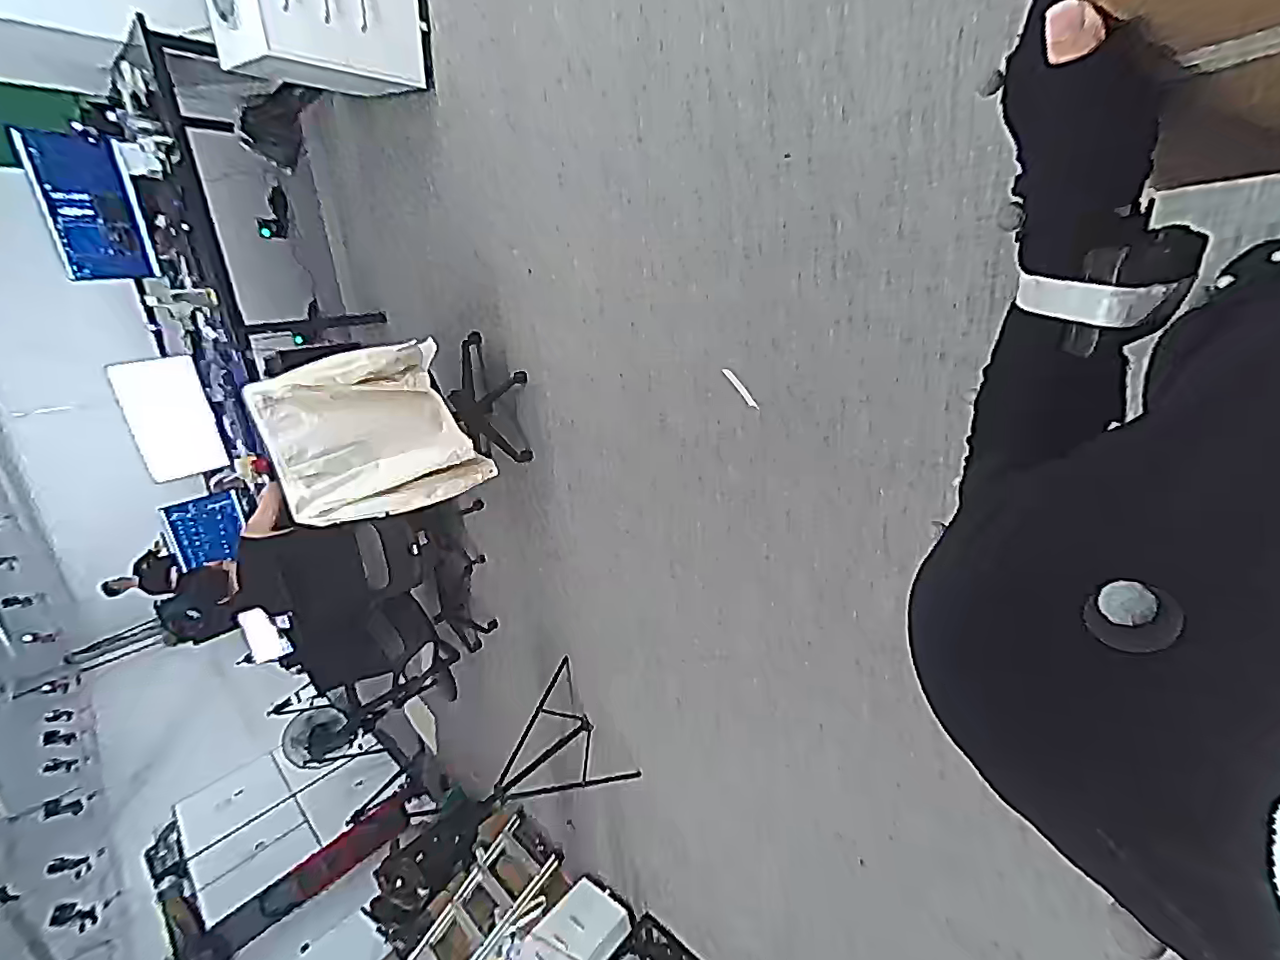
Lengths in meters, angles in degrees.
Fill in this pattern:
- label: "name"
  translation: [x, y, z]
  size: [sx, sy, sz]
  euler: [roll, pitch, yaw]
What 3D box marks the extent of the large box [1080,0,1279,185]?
- label: "large box"
  translation: [0.377, -0.311, 0.101]
  size: [0.408, 0.320, 0.320]
  euler: [18, 103, 48]
